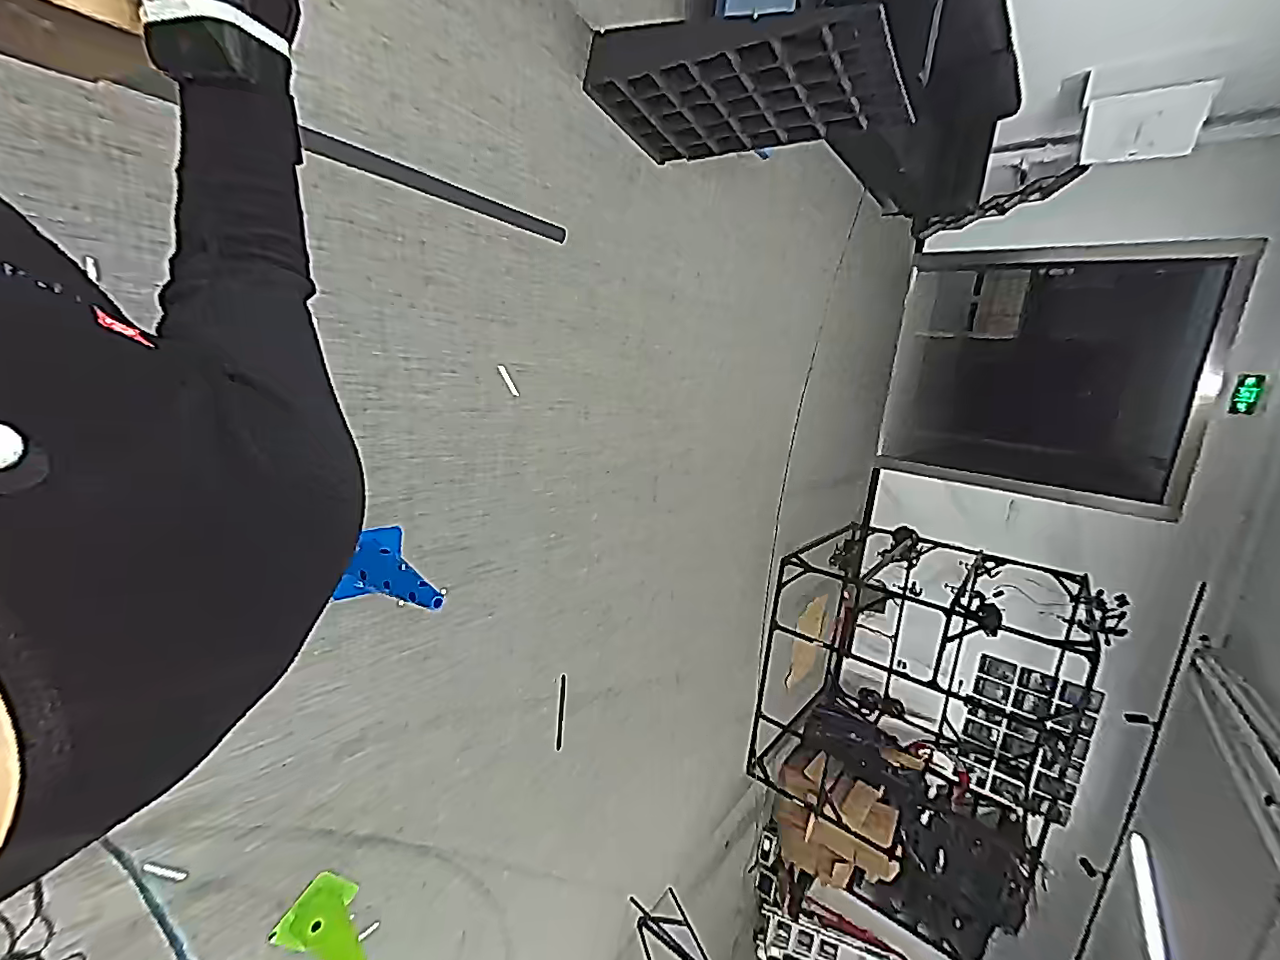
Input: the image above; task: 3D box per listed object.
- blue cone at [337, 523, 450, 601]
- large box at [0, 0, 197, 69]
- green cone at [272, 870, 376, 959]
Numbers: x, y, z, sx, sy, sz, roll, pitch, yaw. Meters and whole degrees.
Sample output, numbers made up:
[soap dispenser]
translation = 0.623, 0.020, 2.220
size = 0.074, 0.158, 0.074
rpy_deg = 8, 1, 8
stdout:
[blue cone]
translation = -0.663, 0.262, 1.501
size = 0.192, 0.380, 0.193
rpy_deg = -4, 105, -55
[large box]
translation = -0.514, -0.466, 0.252
size = 0.408, 0.320, 0.320
rpy_deg = -12, 120, -53
[green cone]
translation = -0.865, 1.372, 1.587
size = 0.202, 0.368, 0.200
rpy_deg = -52, 139, -32
